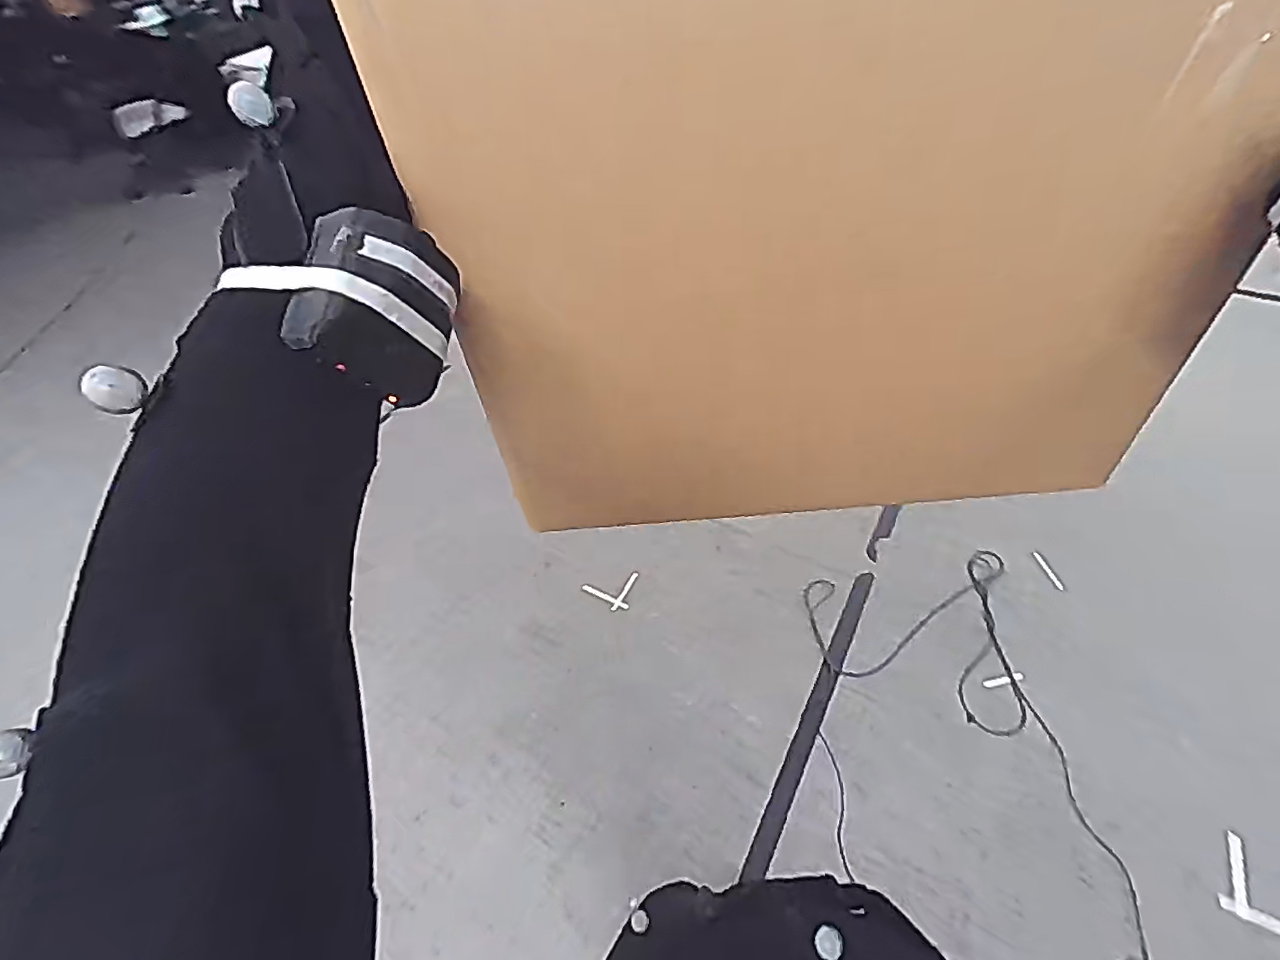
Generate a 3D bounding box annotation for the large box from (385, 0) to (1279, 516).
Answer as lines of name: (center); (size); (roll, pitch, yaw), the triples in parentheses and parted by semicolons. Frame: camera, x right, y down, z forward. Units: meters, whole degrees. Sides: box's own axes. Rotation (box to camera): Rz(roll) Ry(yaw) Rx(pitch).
large box: (0.103, -0.197, 0.402); (0.408, 0.320, 0.320); (-4, 44, 3)
